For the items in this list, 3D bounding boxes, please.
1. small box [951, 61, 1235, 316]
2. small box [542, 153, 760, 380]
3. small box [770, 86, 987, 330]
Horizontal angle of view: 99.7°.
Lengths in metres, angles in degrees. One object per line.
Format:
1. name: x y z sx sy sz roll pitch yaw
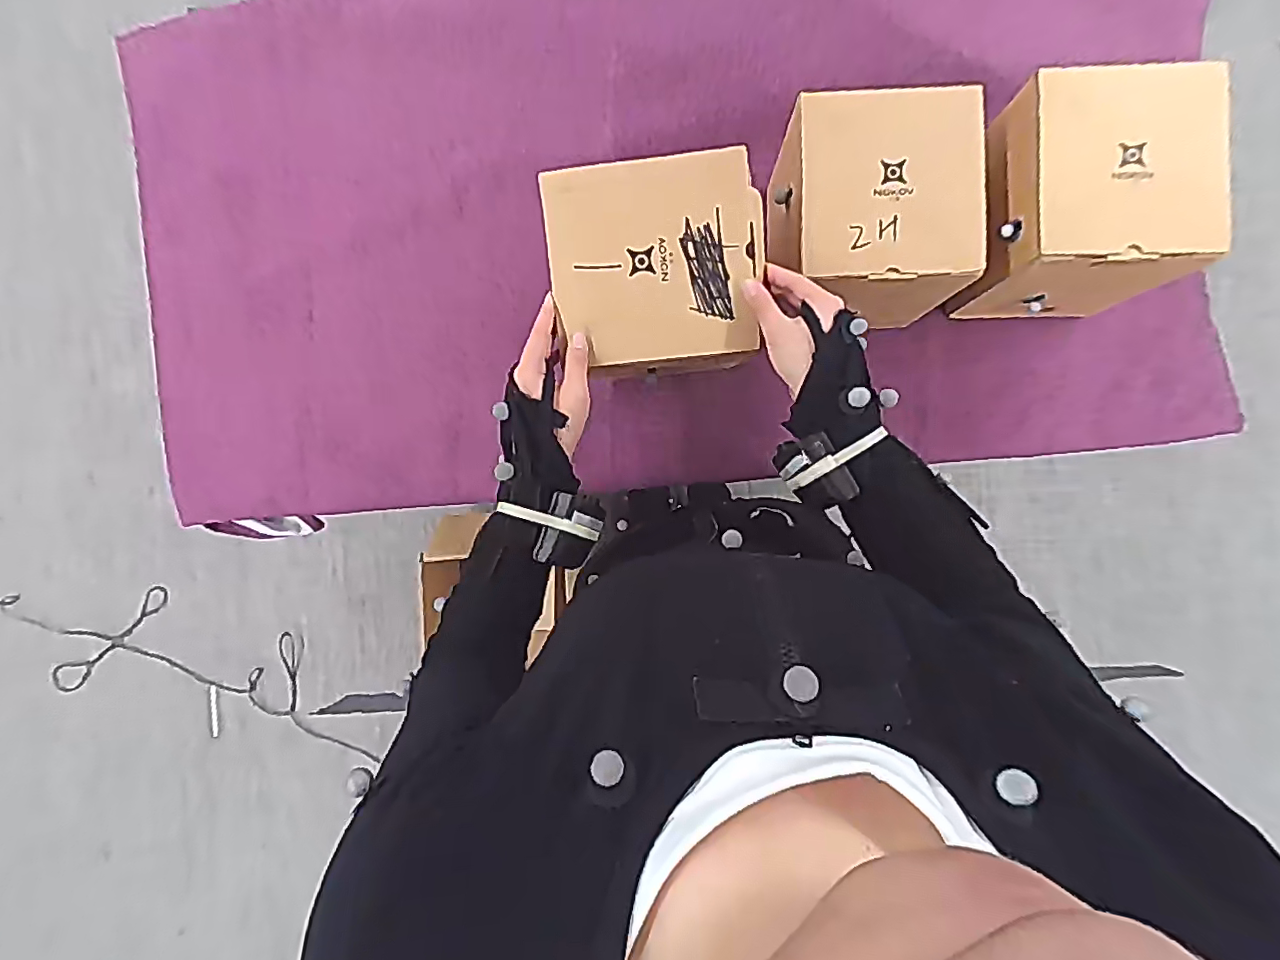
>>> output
1. small box: 0.444 -0.283 0.561 0.168 0.176 0.179 0 89 4
2. small box: 0.012 -0.193 0.537 0.179 0.176 0.168 -5 96 3
3. small box: 0.234 -0.270 0.572 0.168 0.176 0.179 0 89 3
